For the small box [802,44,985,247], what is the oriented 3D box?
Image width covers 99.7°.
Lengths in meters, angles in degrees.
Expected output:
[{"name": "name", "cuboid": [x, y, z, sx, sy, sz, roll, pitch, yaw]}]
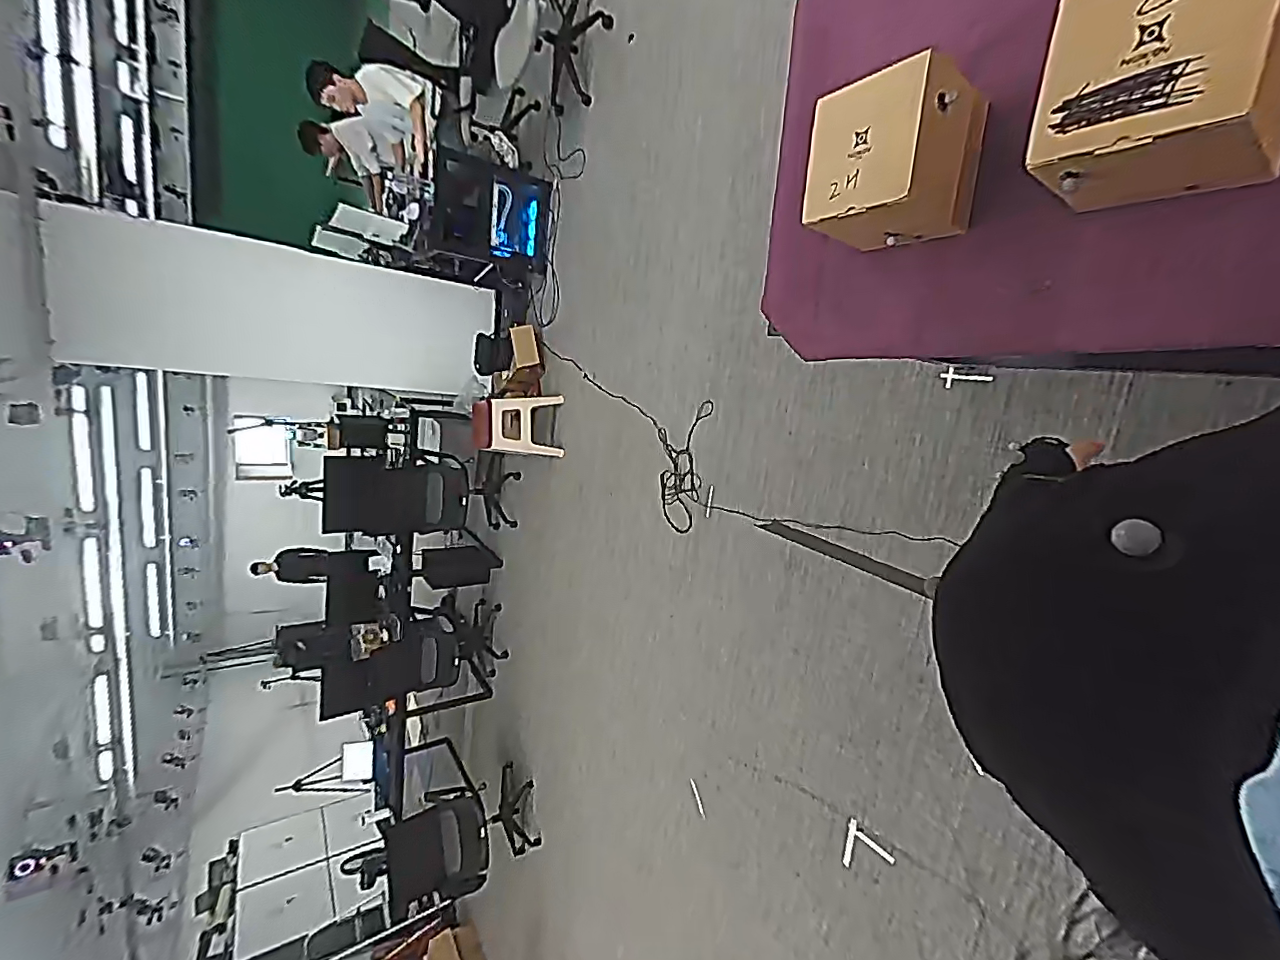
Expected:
[{"name": "small box", "cuboid": [0.358, -0.451, 0.766, 0.168, 0.176, 0.179, 17, 105, 53]}]
